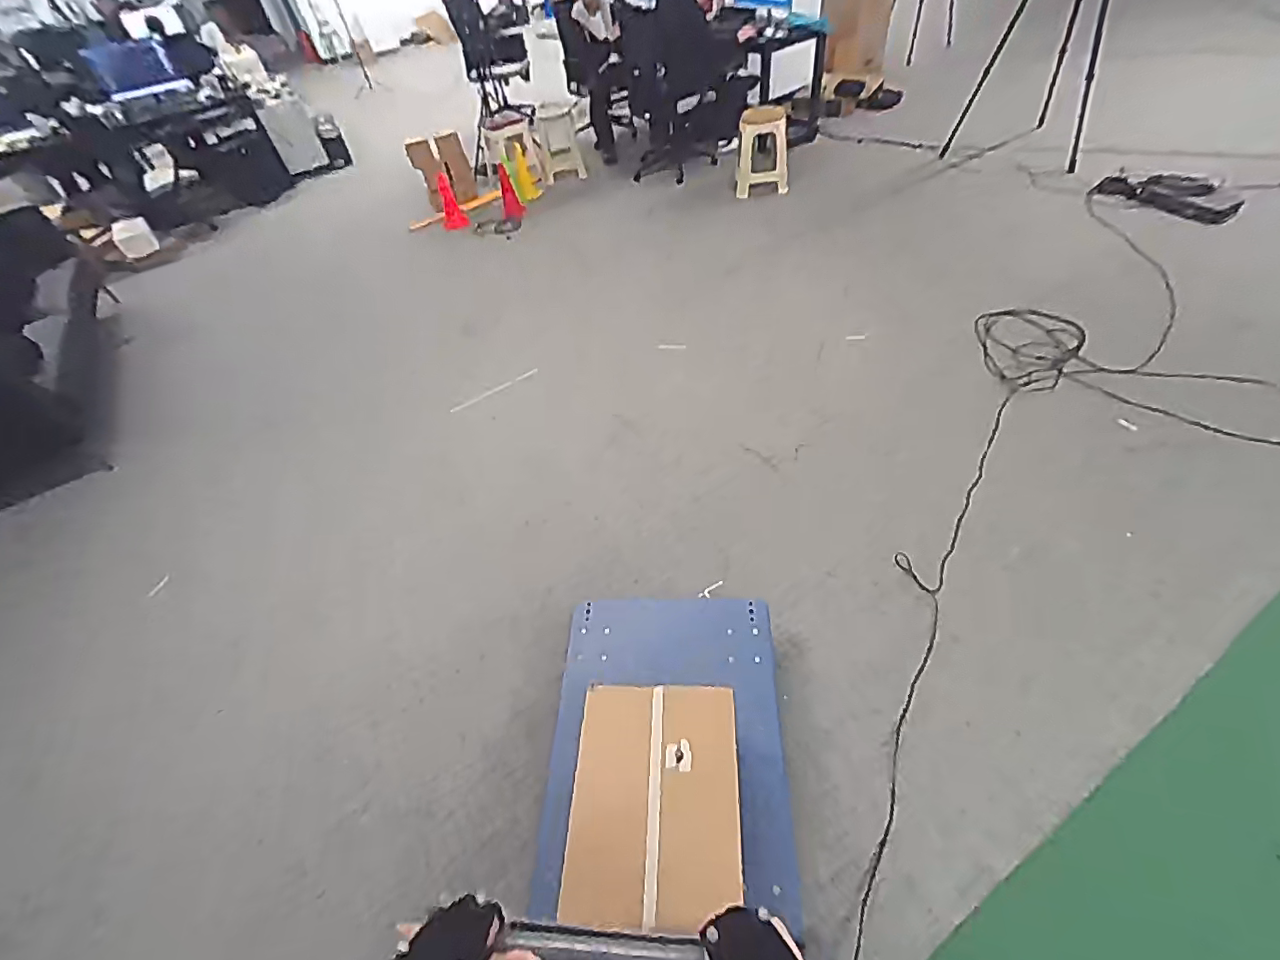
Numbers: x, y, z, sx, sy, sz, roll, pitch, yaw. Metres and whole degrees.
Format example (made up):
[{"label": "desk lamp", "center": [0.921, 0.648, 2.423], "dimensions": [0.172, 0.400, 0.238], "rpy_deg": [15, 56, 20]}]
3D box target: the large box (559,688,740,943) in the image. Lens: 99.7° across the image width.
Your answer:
[{"label": "large box", "center": [0.042, 0.698, 1.137], "dimensions": [0.320, 0.320, 0.408], "rpy_deg": [-1, 47, 8]}]
